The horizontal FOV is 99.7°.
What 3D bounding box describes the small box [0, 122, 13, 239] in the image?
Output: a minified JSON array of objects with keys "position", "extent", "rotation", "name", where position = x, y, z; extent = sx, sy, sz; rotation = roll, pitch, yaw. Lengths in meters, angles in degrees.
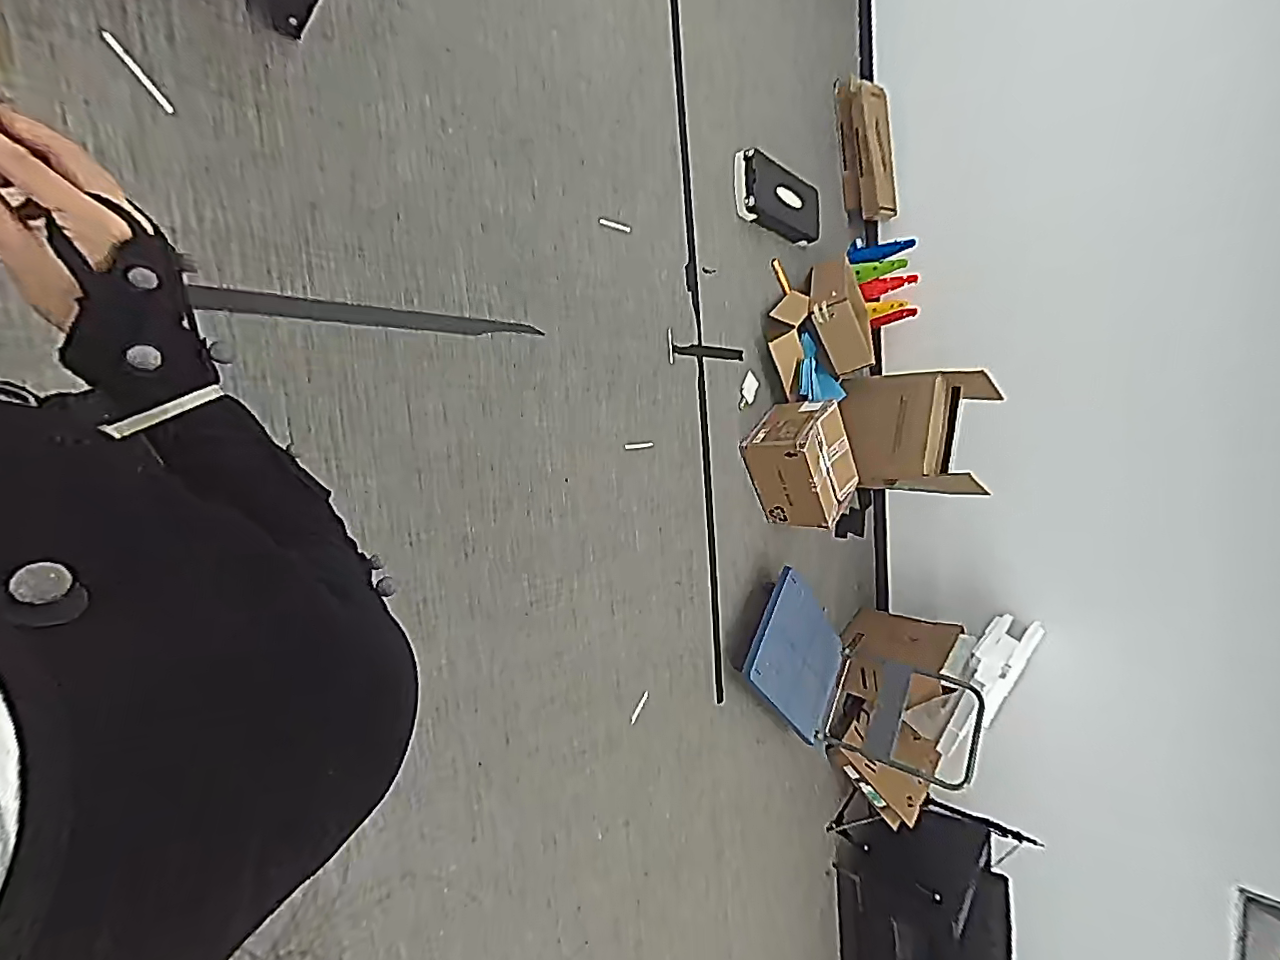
[{"position":[-0.462,-0.231,0.269],"extent":[0.179,0.176,0.168],"rotation":[-8,89,-40],"name":"small box"}]
